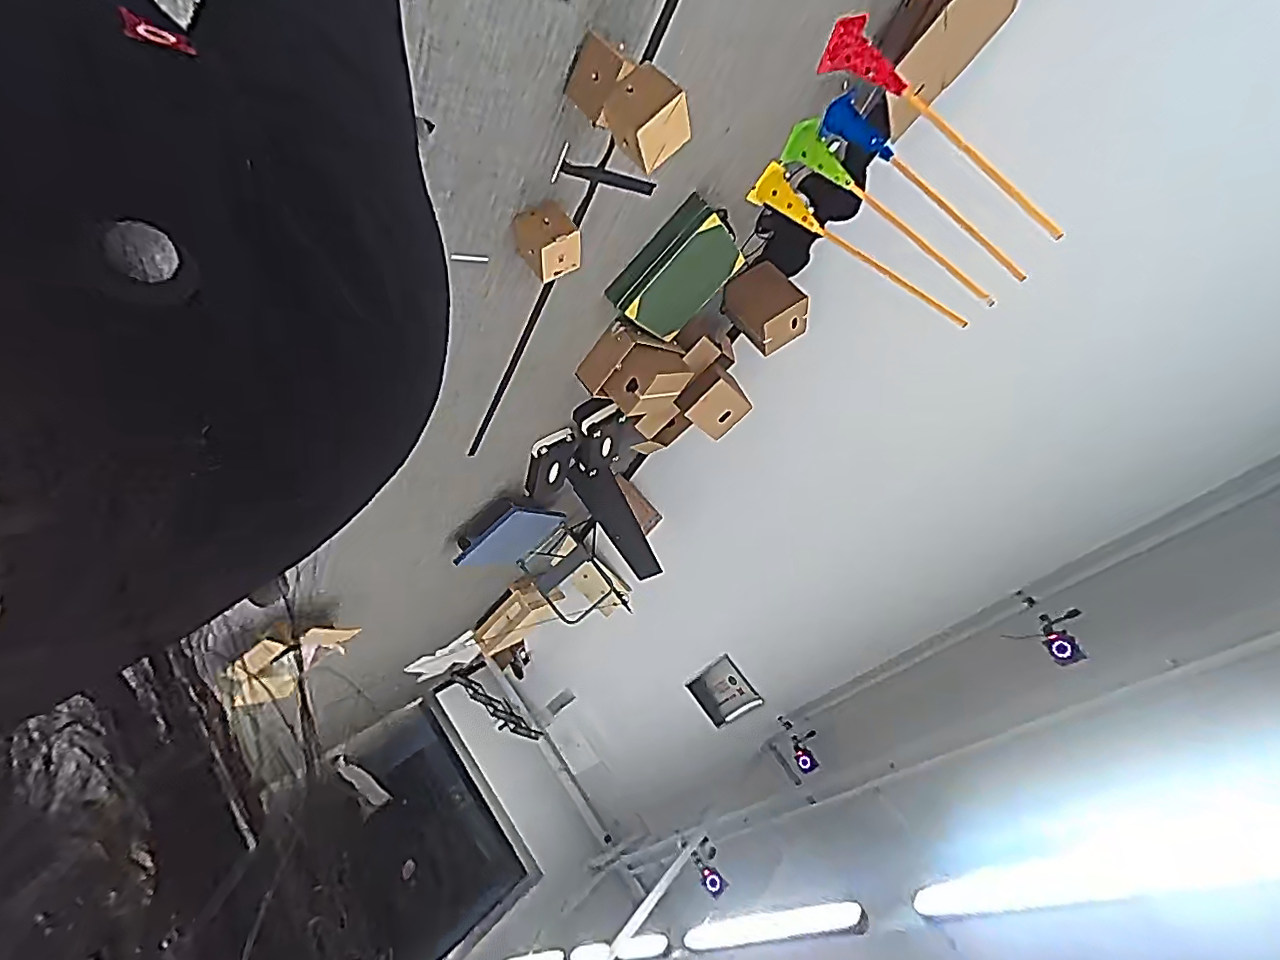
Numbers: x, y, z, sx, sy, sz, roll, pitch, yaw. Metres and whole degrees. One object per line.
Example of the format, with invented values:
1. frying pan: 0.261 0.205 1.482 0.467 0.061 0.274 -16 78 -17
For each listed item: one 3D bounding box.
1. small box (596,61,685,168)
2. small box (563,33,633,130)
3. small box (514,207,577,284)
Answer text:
1. small box: 0.006 -1.059 1.587 0.179 0.176 0.168 -42 165 3
2. small box: -0.106 -1.180 1.622 0.168 0.176 0.179 -22 156 -50
3. small box: -0.343 -0.859 1.965 0.168 0.176 0.179 -33 163 -19
